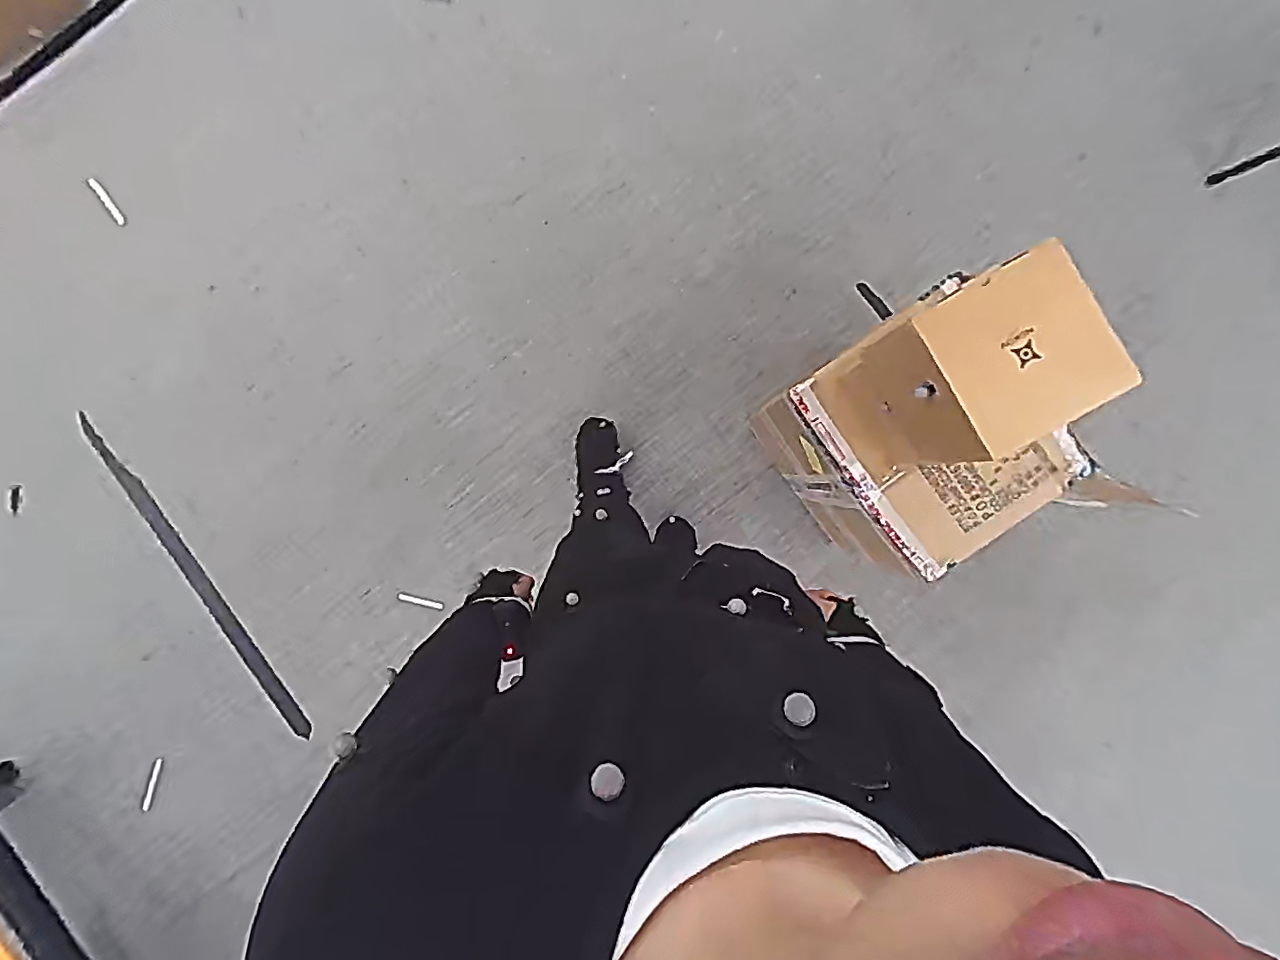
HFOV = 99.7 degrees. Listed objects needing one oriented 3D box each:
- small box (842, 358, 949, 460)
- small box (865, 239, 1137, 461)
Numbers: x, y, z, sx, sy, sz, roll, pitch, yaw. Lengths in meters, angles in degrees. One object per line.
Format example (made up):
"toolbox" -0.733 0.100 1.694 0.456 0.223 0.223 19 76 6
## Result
"small box" 0.428 -0.141 0.794 0.168 0.176 0.179 -35 88 4
"small box" 0.399 -0.135 0.634 0.168 0.176 0.179 -29 87 5
